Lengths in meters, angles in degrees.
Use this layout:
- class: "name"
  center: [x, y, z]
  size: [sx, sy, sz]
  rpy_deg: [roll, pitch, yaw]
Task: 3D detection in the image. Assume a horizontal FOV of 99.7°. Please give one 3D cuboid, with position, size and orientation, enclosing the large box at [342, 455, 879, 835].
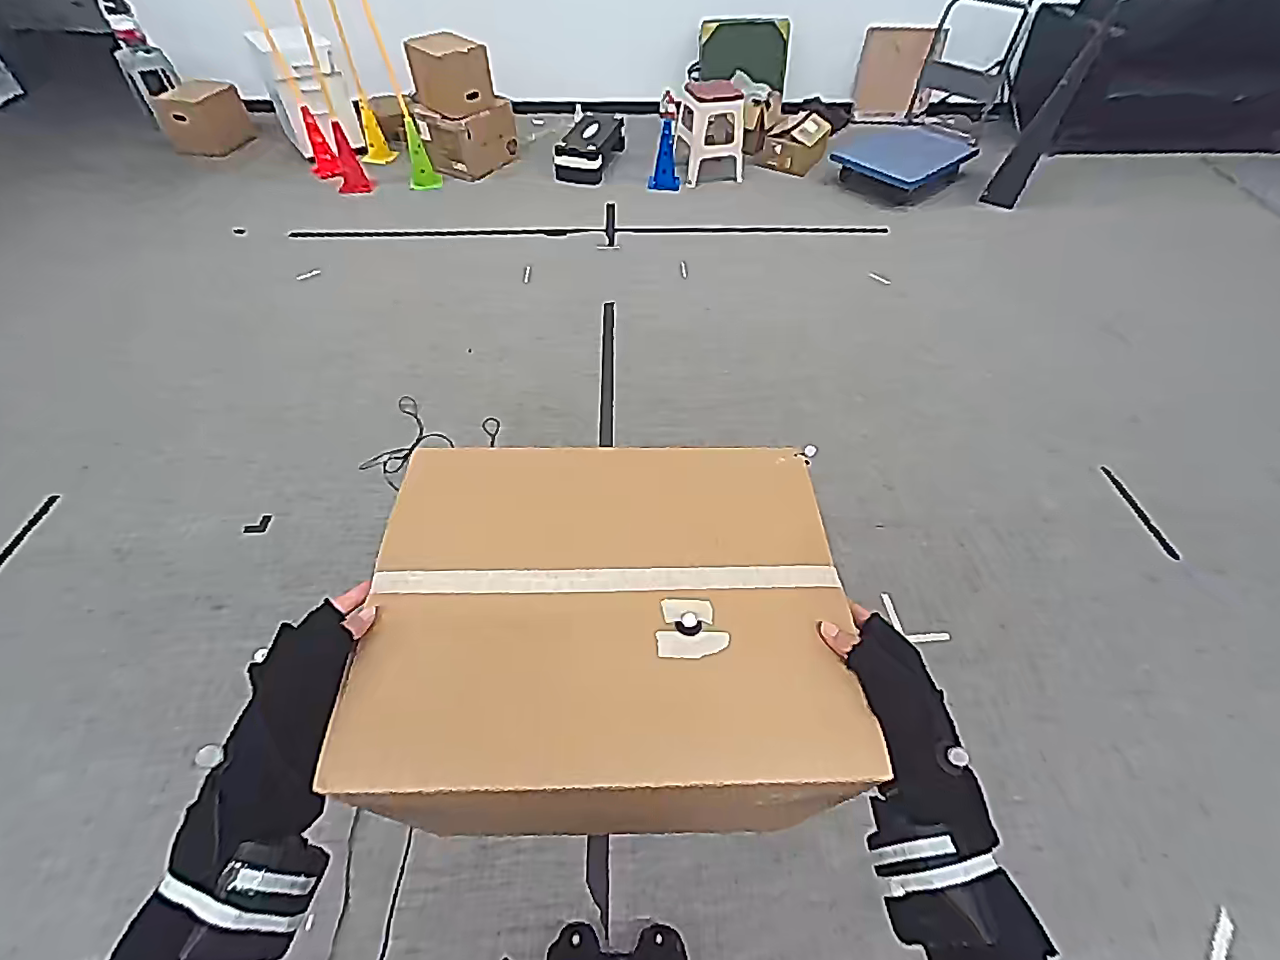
- class: "large box"
  center: [-0.028, 0.187, 0.601]
  size: [0.408, 0.320, 0.320]
  rpy_deg: [0, 52, -2]
